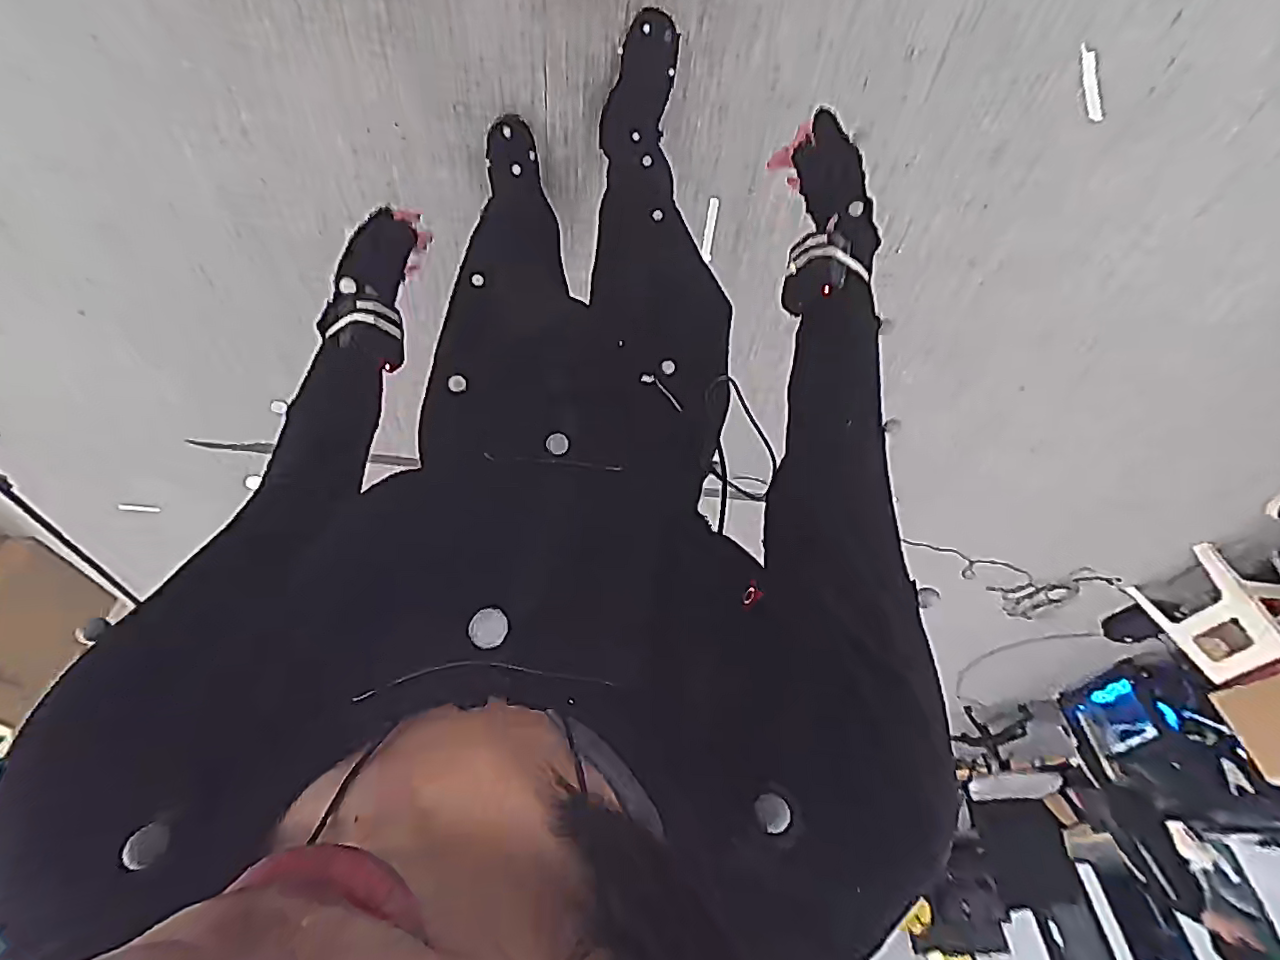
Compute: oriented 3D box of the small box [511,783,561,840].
[{"bbox_3d":[-0.419,1.356,2.206,0.168,0.176,0.179,1,137,0],"label":"small box"}]
